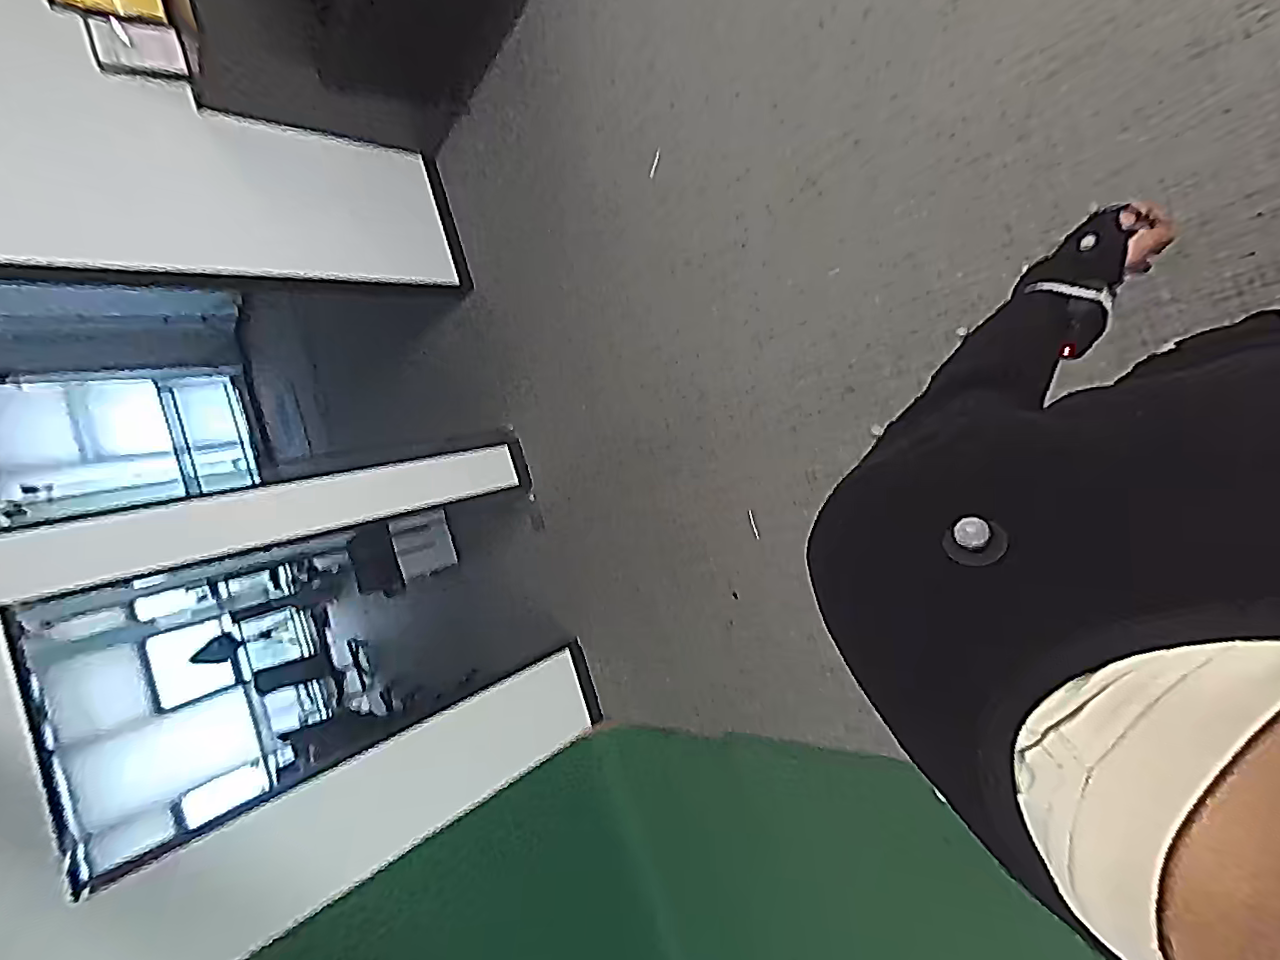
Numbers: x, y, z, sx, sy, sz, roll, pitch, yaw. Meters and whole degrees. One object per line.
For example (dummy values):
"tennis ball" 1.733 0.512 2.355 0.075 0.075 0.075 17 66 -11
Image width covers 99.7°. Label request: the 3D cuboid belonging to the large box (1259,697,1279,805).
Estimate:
"large box" 1.264 0.591 0.830 0.320 0.320 0.408 -22 85 47
